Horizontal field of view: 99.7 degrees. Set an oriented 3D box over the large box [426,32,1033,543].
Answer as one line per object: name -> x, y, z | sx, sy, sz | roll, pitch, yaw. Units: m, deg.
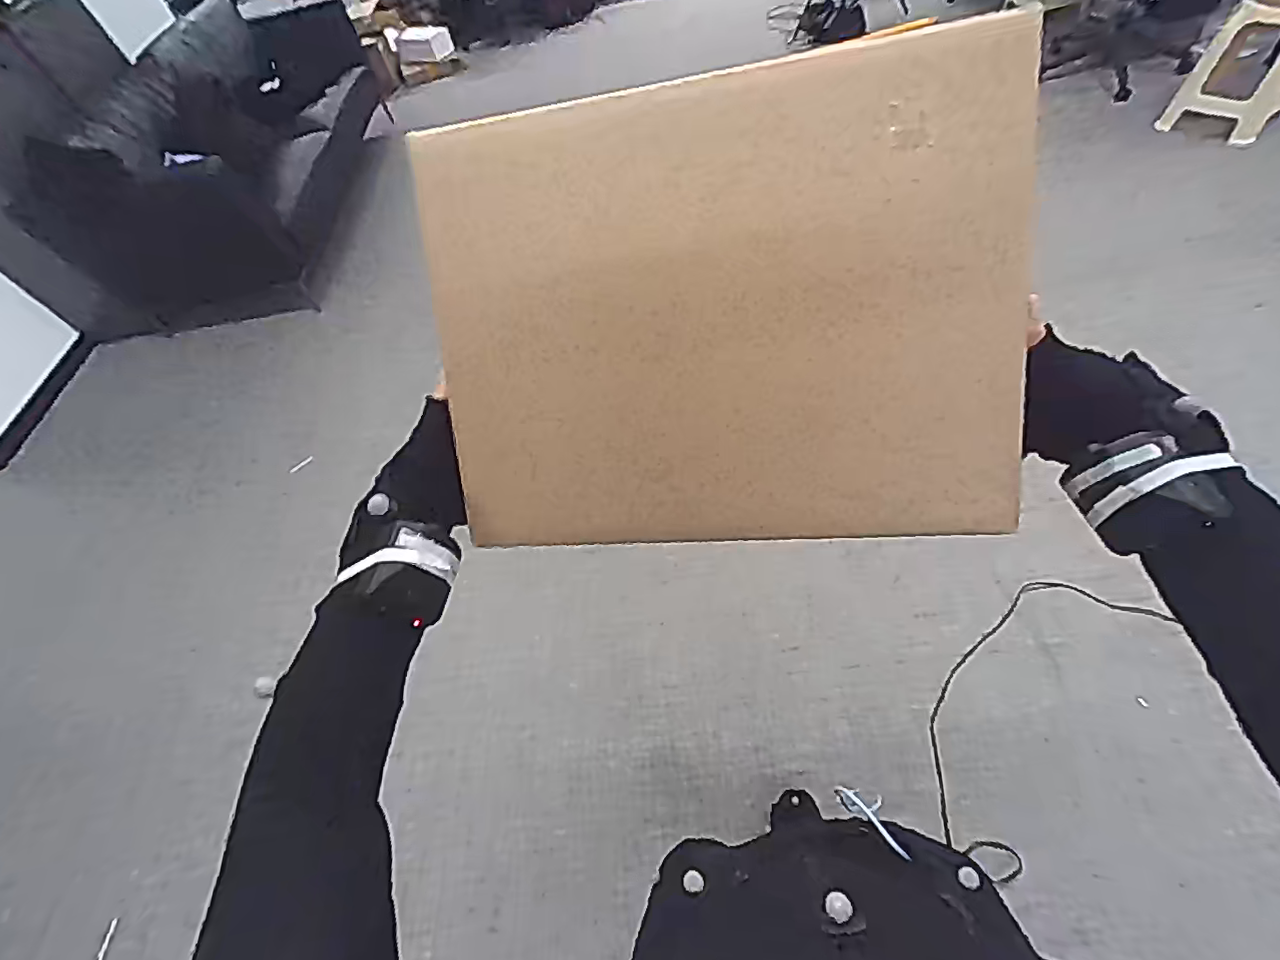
large box -> 0.075, -0.133, 0.522 | 0.408, 0.320, 0.320 | -2, 13, 12
